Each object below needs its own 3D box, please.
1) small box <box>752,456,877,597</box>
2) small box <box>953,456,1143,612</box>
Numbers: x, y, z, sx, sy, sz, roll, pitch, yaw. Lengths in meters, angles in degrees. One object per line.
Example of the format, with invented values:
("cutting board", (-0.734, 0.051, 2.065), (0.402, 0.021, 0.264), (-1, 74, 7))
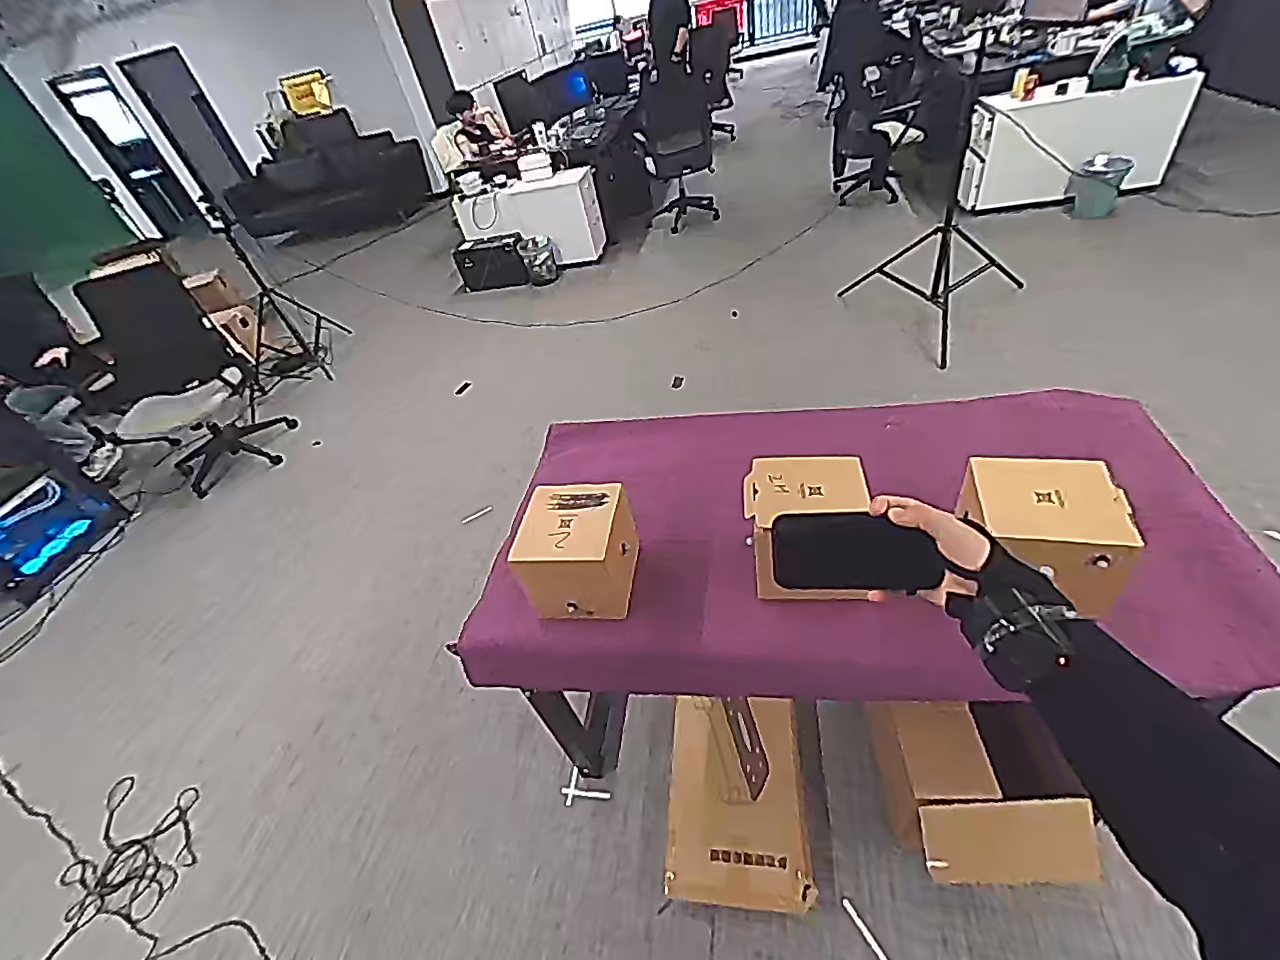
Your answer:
("small box", (0.279, 0.079, 0.897), (0.179, 0.176, 0.168), (-3, 40, 13))
("small box", (0.586, 0.080, 0.810), (0.179, 0.176, 0.168), (2, 44, 18))
